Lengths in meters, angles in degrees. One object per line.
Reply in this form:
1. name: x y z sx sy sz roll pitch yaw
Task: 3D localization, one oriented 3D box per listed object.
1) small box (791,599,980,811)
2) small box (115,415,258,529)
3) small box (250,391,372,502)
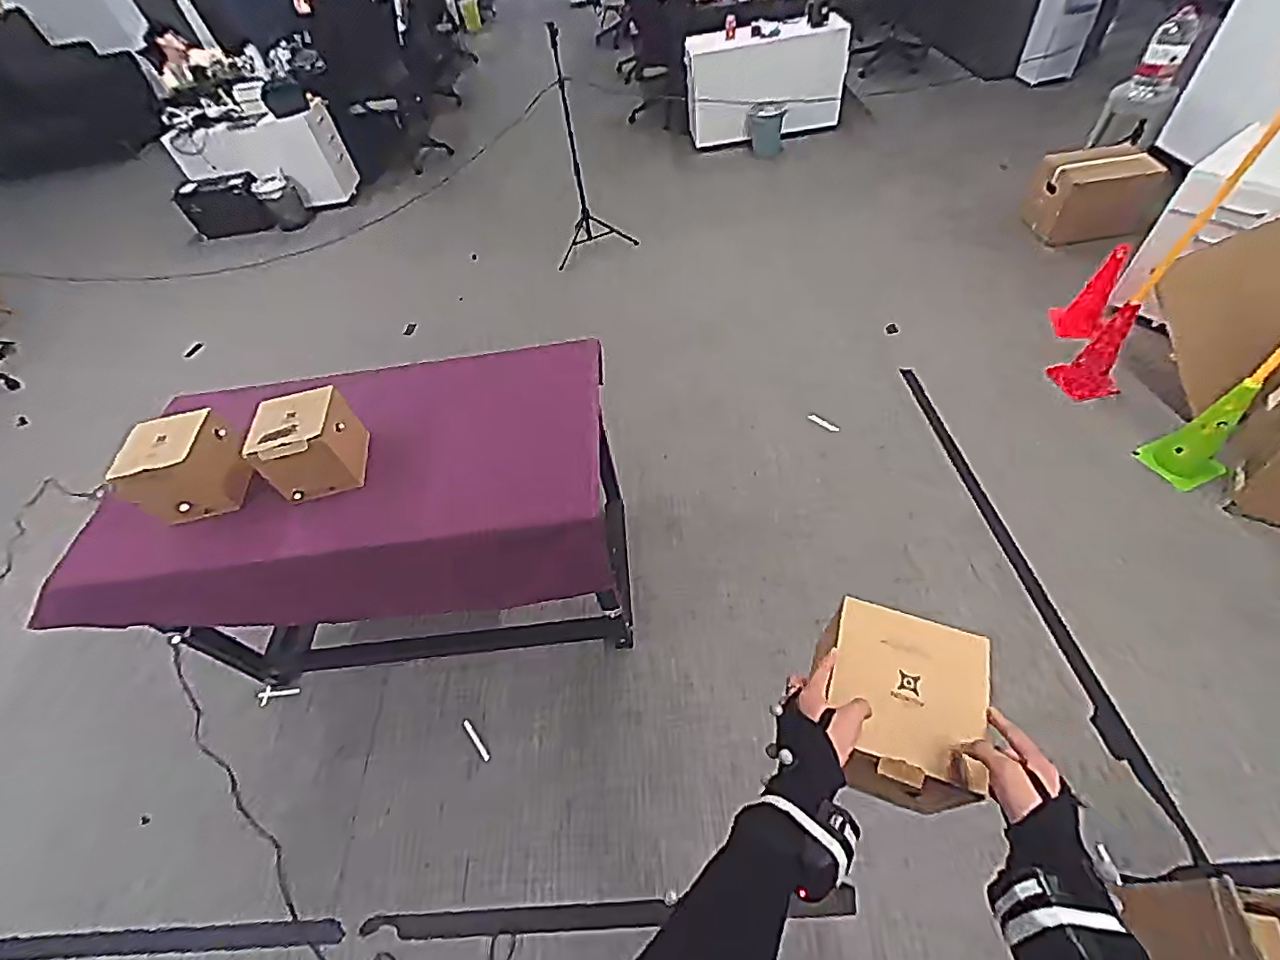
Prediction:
1. small box: 0.292 0.280 0.666 0.168 0.176 0.179 16 55 14
2. small box: -1.013 -0.017 1.232 0.168 0.176 0.179 -14 50 -2
3. small box: -0.735 -0.068 1.231 0.168 0.176 0.179 -15 49 -3
